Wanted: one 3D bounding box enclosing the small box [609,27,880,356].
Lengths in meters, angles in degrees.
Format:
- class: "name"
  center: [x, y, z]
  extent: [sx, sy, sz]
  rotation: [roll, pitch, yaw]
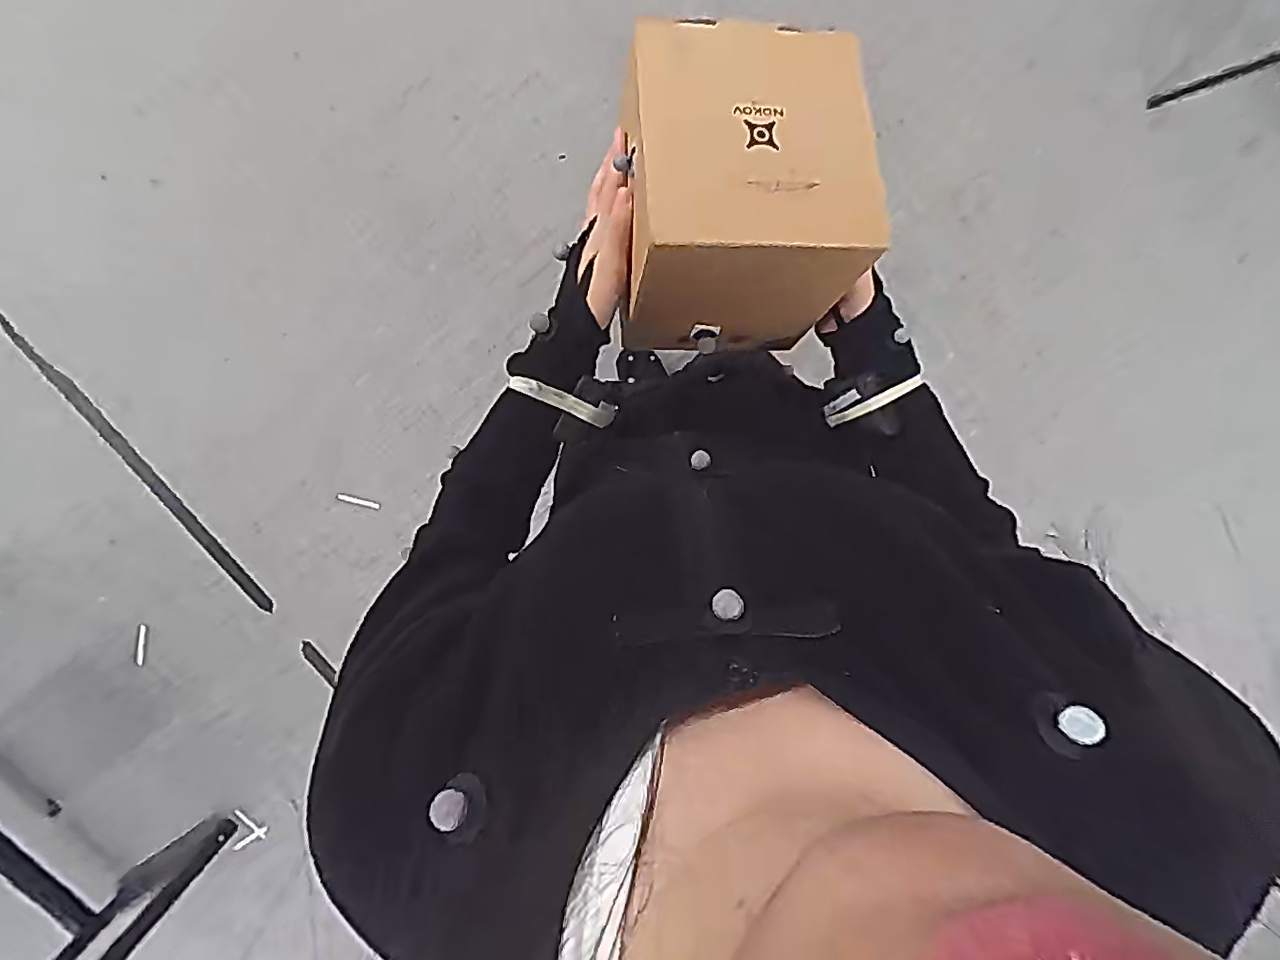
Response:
- class: "small box"
  center: [0.066, -0.220, 0.450]
  extent: [0.168, 0.176, 0.179]
  rotation: [-4, 79, -8]
